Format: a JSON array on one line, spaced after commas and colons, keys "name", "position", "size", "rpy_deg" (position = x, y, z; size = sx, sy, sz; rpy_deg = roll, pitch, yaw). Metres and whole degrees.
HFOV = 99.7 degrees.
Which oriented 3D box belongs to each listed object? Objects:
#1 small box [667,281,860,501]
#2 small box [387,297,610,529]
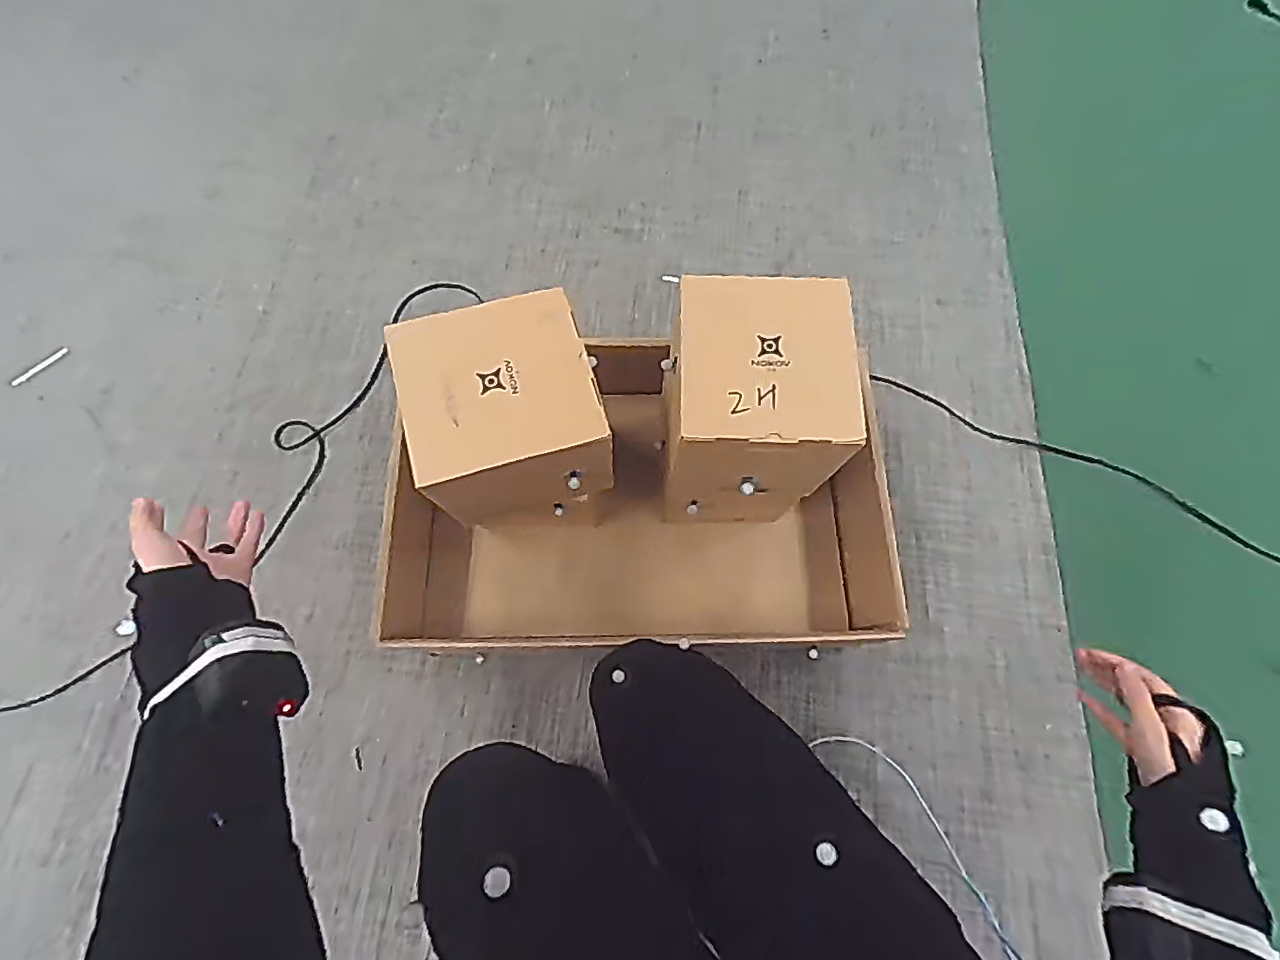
[{"name": "small box", "position": [0.115, -0.085, 0.577], "size": [0.168, 0.176, 0.179], "rpy_deg": [1, 73, 0]}, {"name": "small box", "position": [-0.136, -0.060, 0.571], "size": [0.179, 0.176, 0.168], "rpy_deg": [-16, 74, -6]}]
